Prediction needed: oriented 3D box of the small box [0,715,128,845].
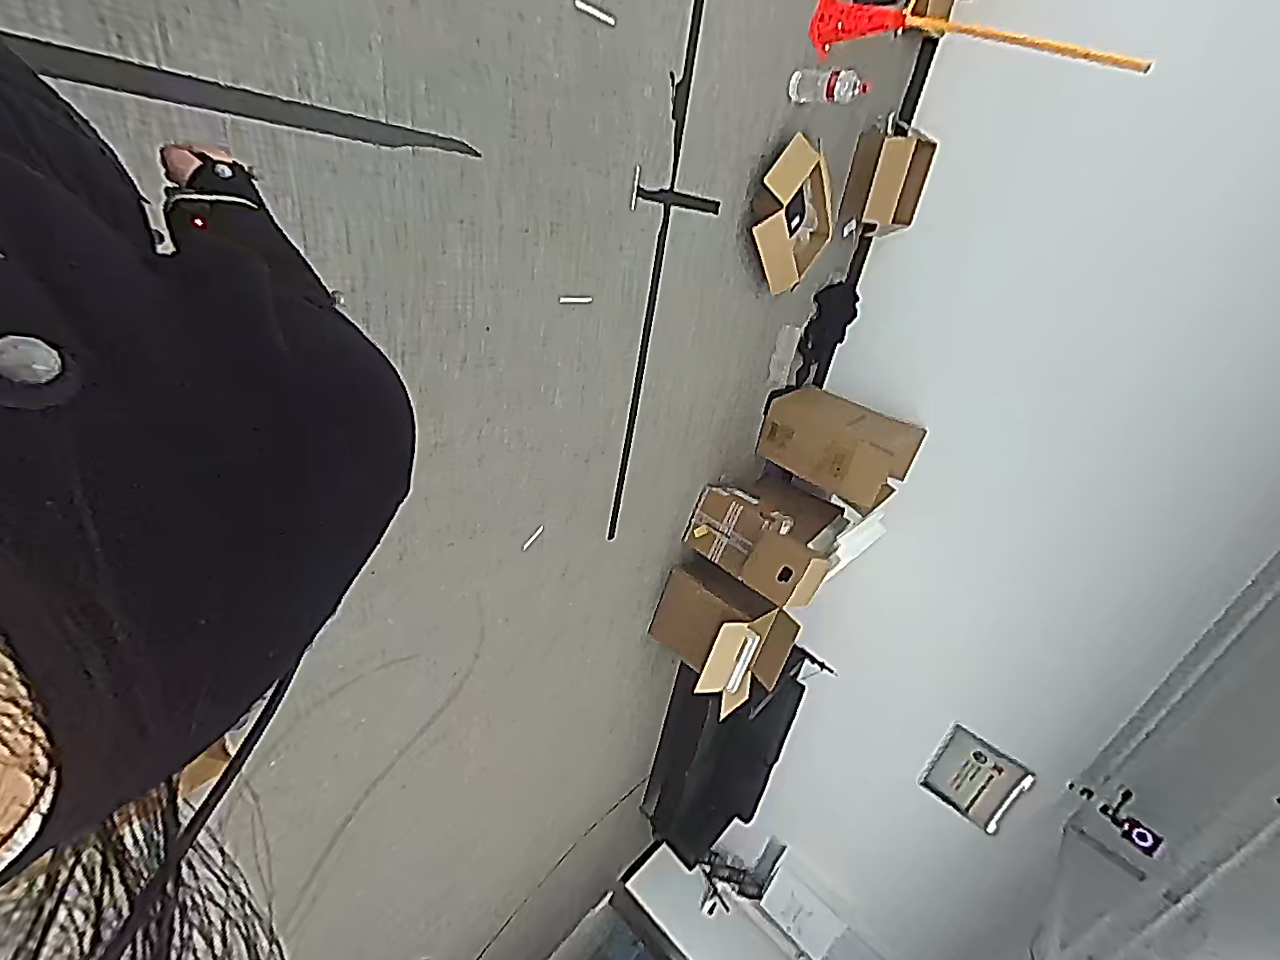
[{"bbox_3d":[-1.361,0.695,1.270,0.168,0.176,0.179,-30,137,-39],"label":"small box"}]
